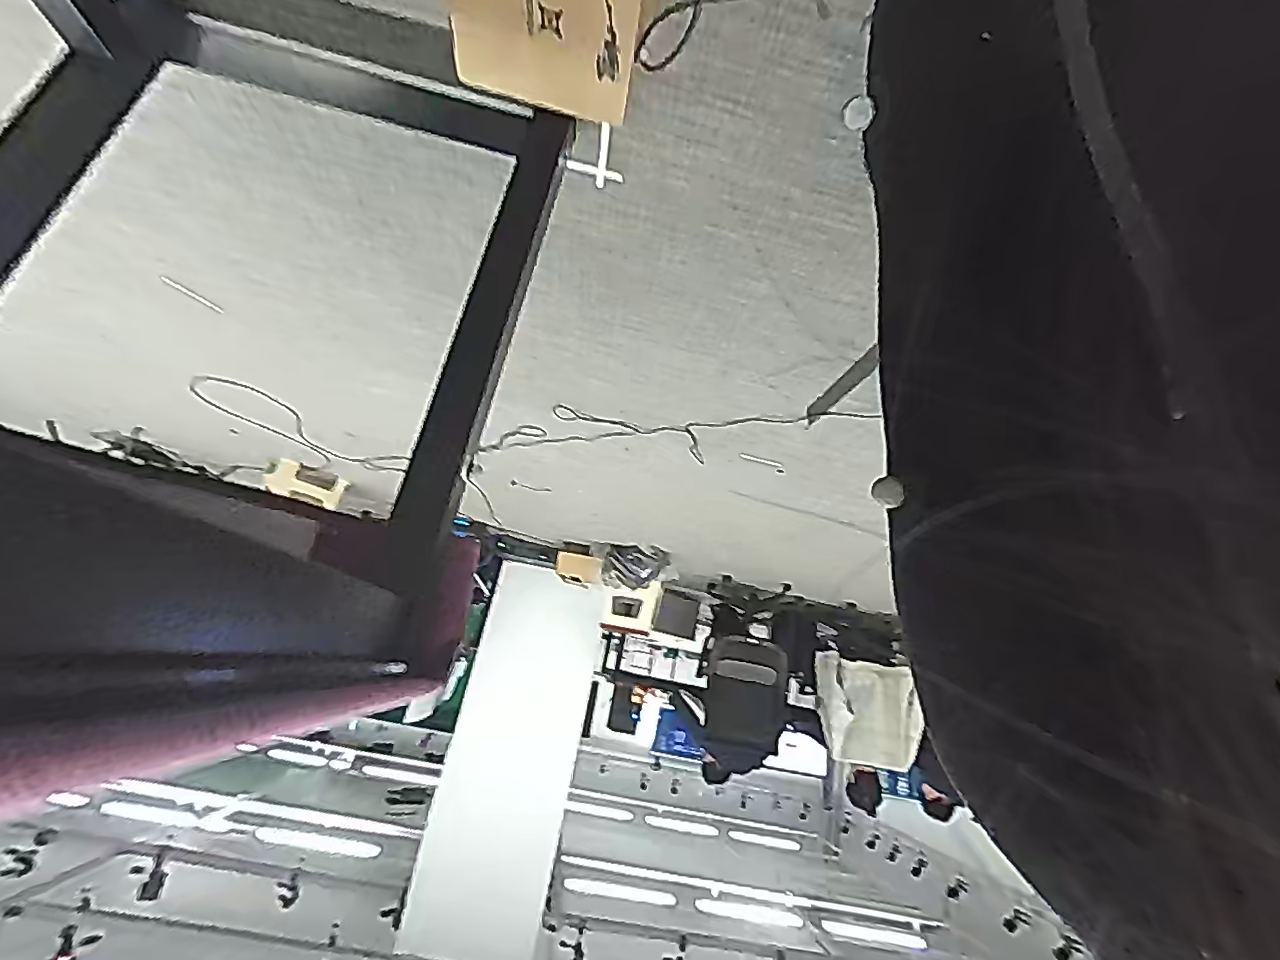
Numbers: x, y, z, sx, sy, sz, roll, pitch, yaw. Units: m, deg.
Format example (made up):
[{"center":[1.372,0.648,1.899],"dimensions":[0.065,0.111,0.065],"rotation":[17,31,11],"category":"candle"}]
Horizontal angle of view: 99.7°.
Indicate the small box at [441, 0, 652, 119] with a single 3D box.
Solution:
[{"center":[-0.075,-0.493,0.501],"dimensions":[0.179,0.176,0.168],"rotation":[15,160,-6],"category":"small box"}]
